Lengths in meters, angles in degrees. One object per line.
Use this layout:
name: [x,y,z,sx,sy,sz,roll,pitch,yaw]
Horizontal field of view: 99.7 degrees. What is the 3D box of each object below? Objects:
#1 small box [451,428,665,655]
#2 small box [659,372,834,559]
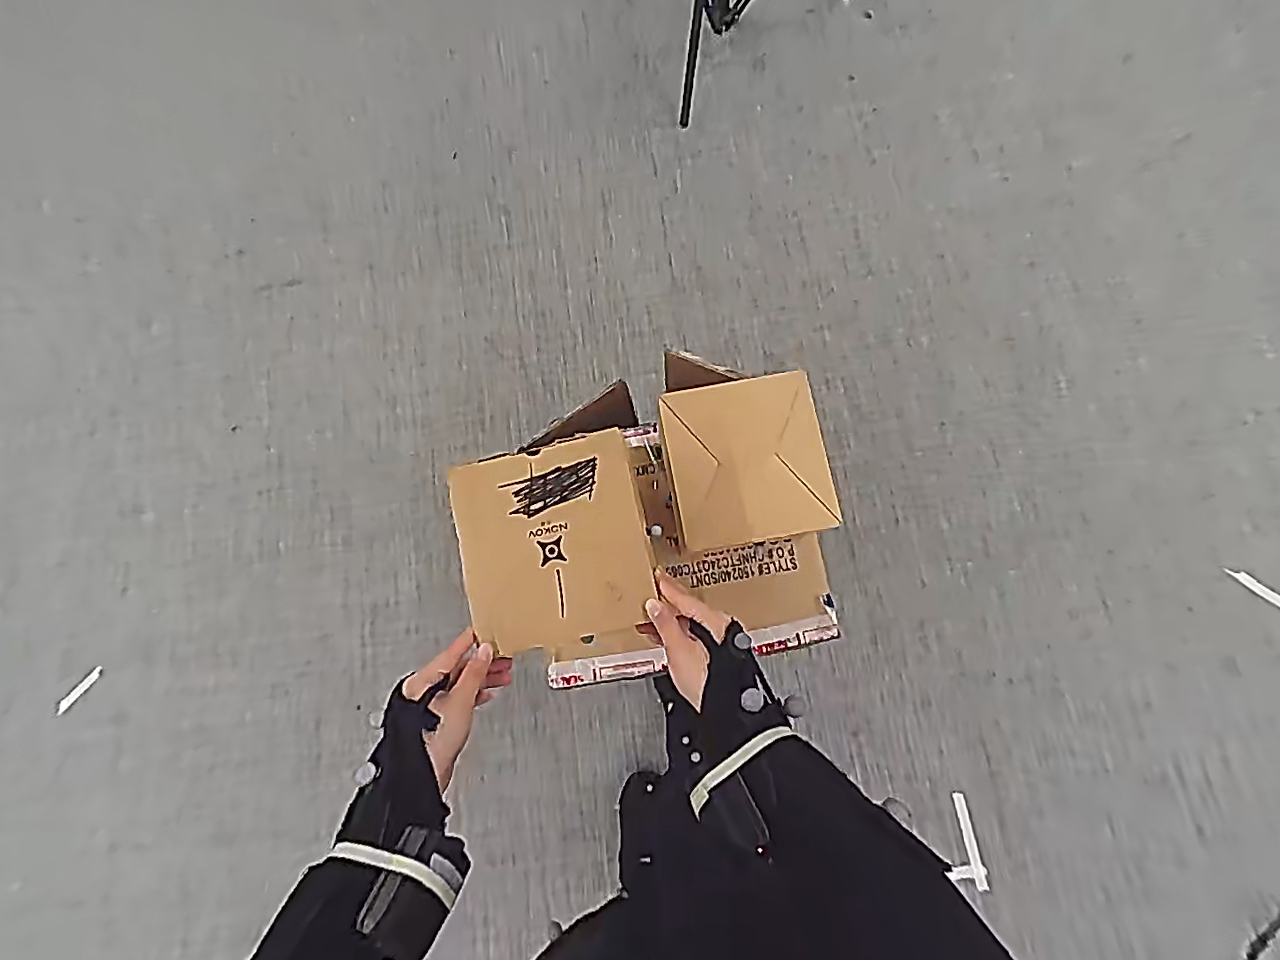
small box: [-0.073,0.065,0.559,0.168,0.176,0.179,-13,81,1]
small box: [0.117,-0.008,0.653,0.168,0.176,0.179,-10,80,0]
